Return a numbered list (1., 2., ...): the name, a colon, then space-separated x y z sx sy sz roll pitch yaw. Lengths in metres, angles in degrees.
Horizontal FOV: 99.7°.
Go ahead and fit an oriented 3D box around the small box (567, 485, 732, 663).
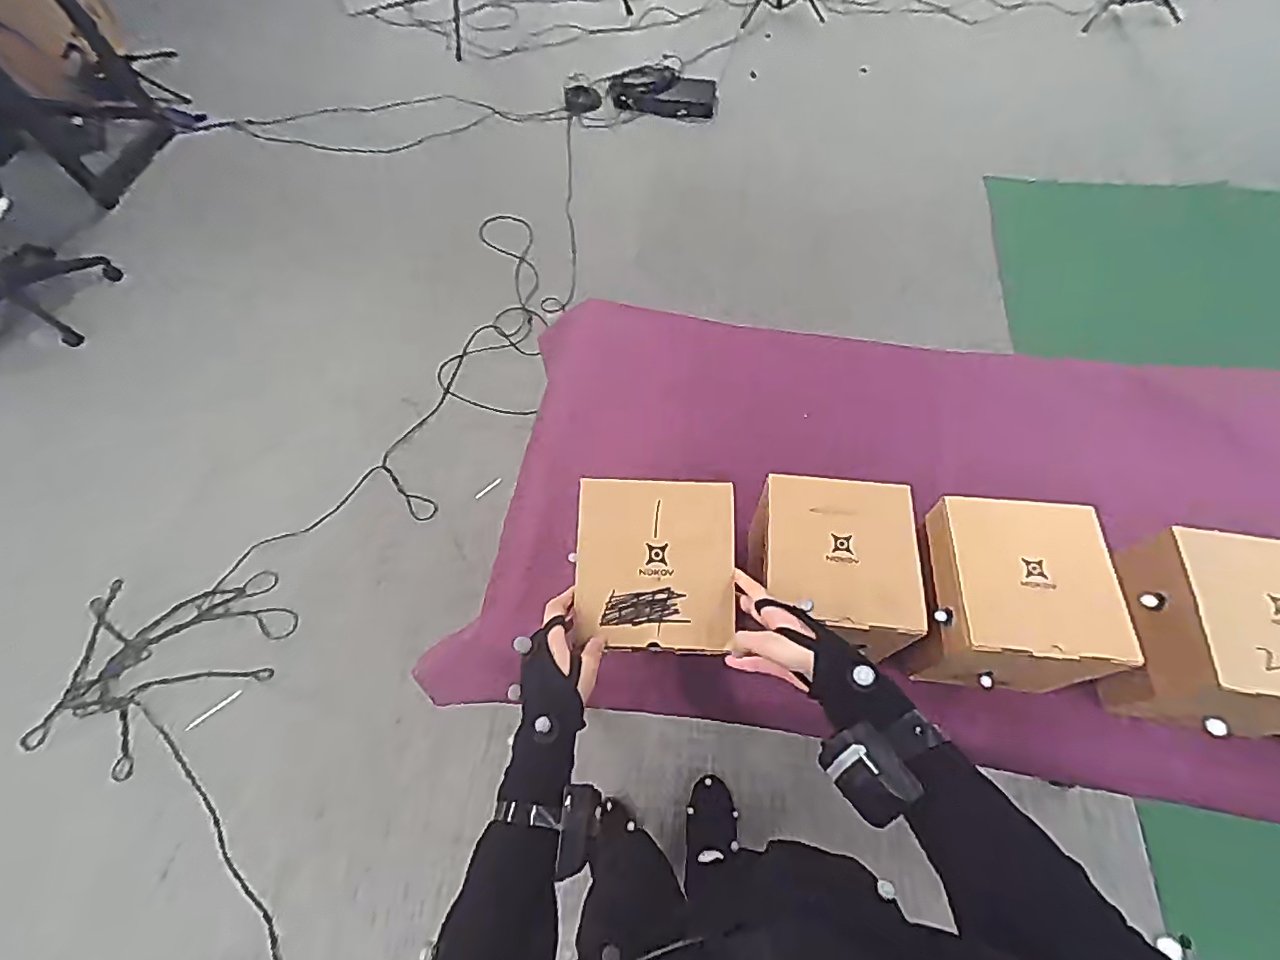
1. small box: 0.012 0.110 0.631 0.168 0.176 0.179 2 77 -1
